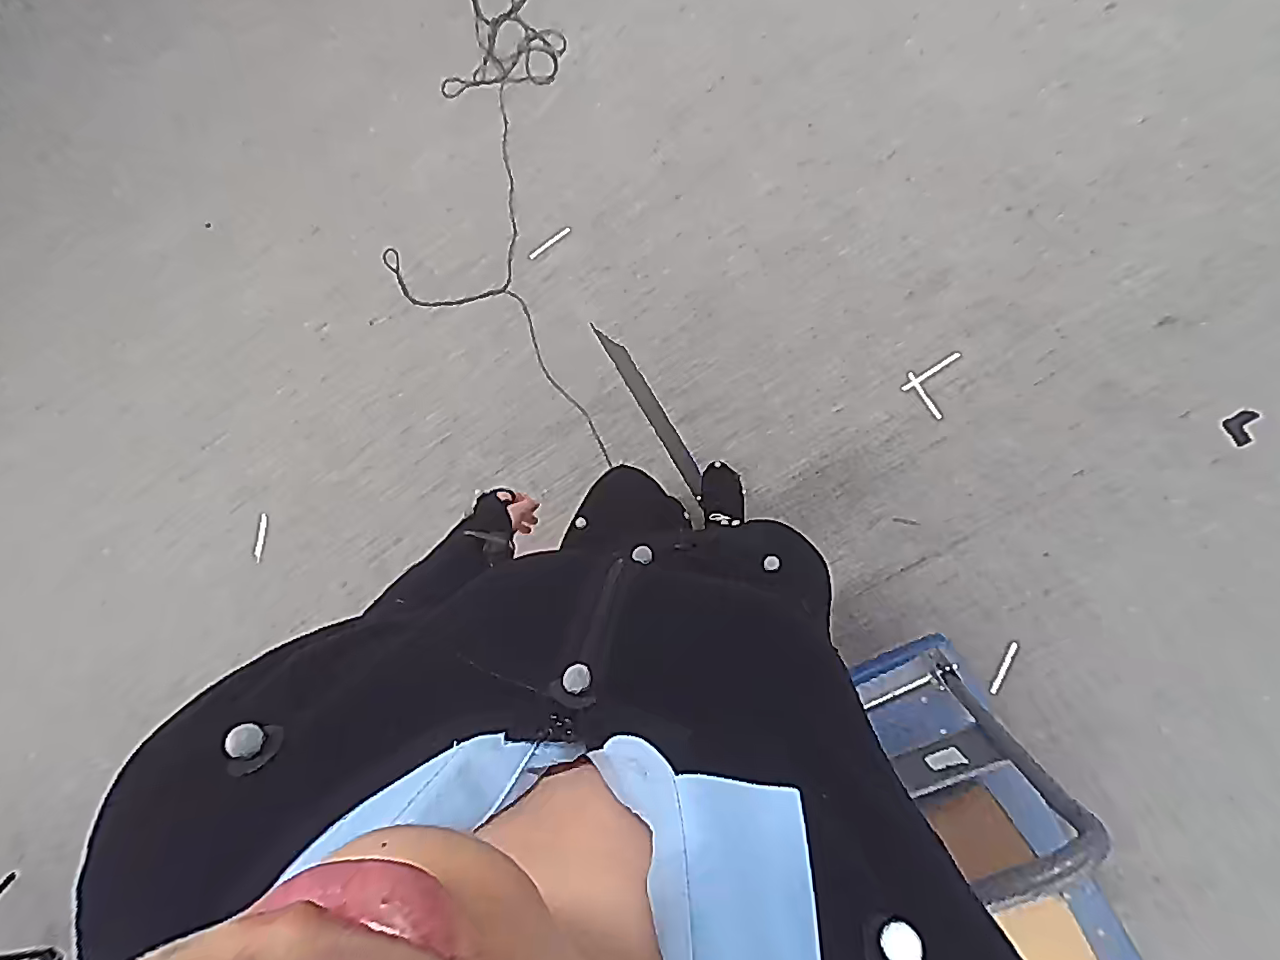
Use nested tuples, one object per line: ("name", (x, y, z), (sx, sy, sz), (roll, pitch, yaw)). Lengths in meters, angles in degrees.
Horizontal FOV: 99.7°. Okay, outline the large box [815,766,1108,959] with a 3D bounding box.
("large box", (0.623, 0.866, 1.087), (0.408, 0.320, 0.320), (-30, 86, 10))
